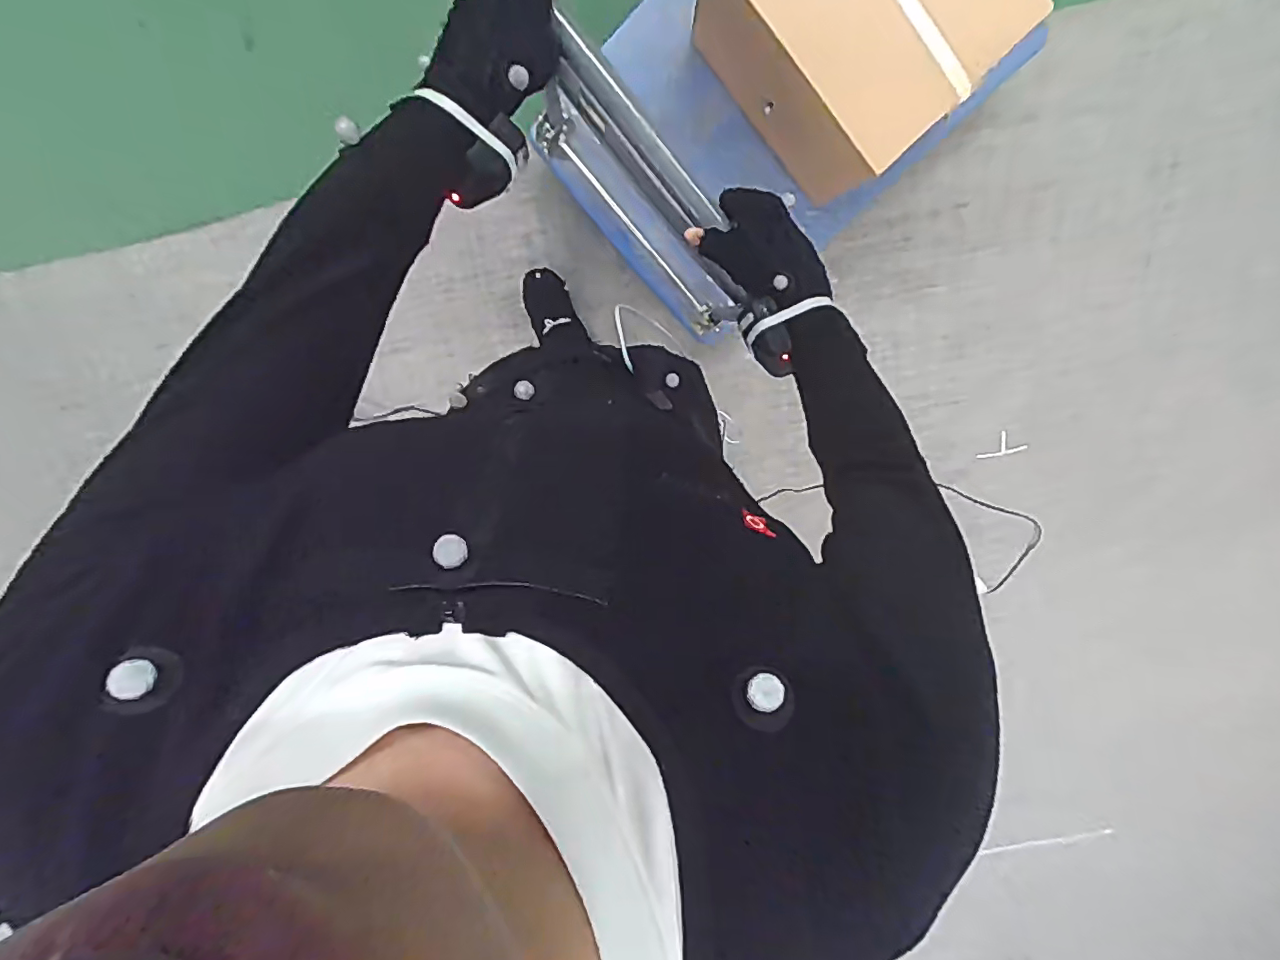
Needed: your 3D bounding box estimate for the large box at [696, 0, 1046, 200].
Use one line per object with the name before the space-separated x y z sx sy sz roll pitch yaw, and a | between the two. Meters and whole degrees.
large box | 0.346 -0.764 0.912 0.320 0.320 0.408 -42 103 12
